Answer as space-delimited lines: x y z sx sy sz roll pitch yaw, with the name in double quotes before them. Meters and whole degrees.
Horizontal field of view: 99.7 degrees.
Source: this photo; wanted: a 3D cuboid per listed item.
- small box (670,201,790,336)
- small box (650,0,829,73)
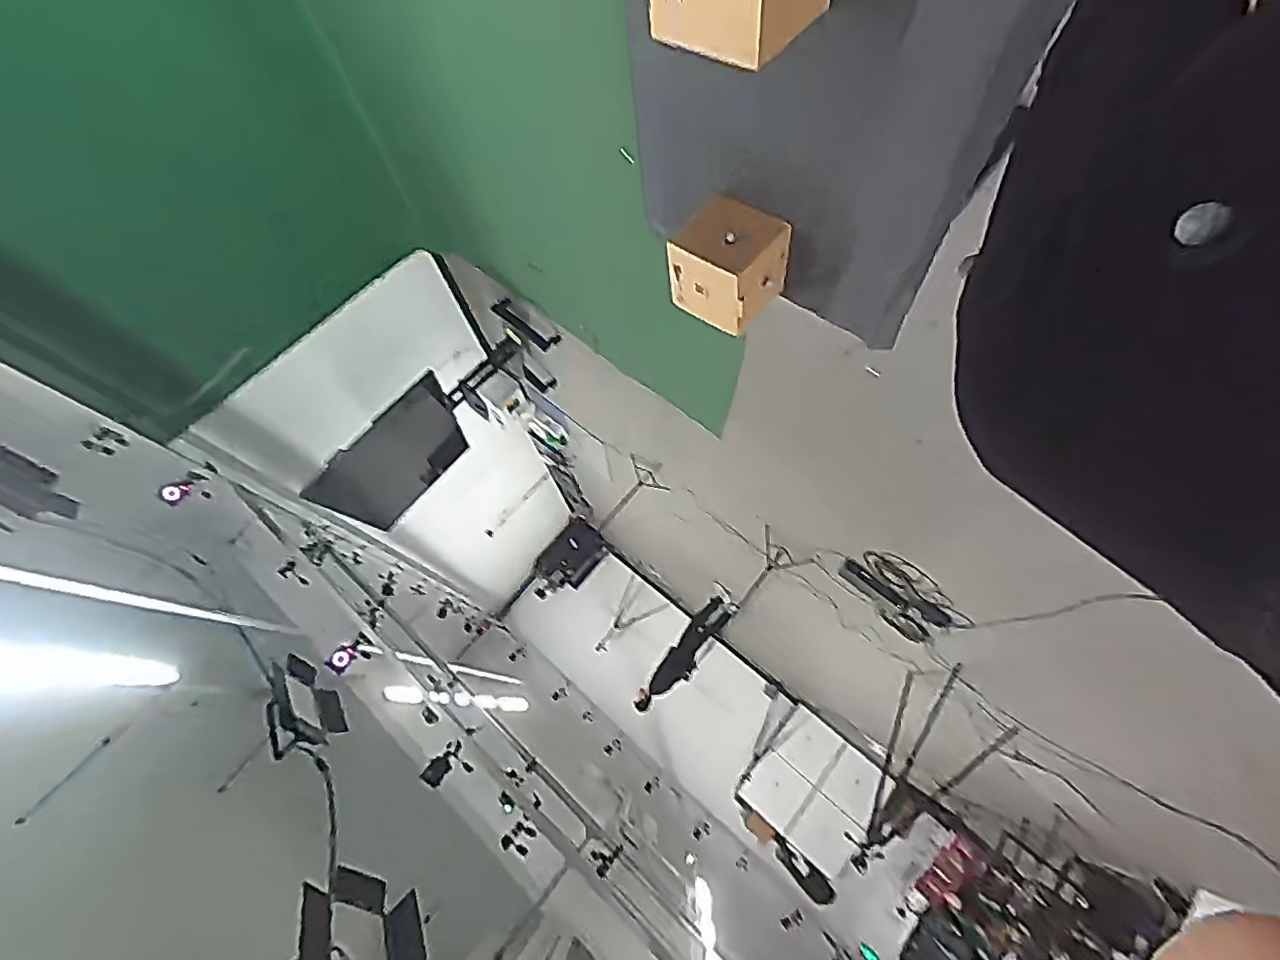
"small box" 0.186 -0.437 1.110 0.179 0.176 0.168 35 163 23
"small box" 0.126 -0.653 0.663 0.179 0.176 0.168 35 164 21
